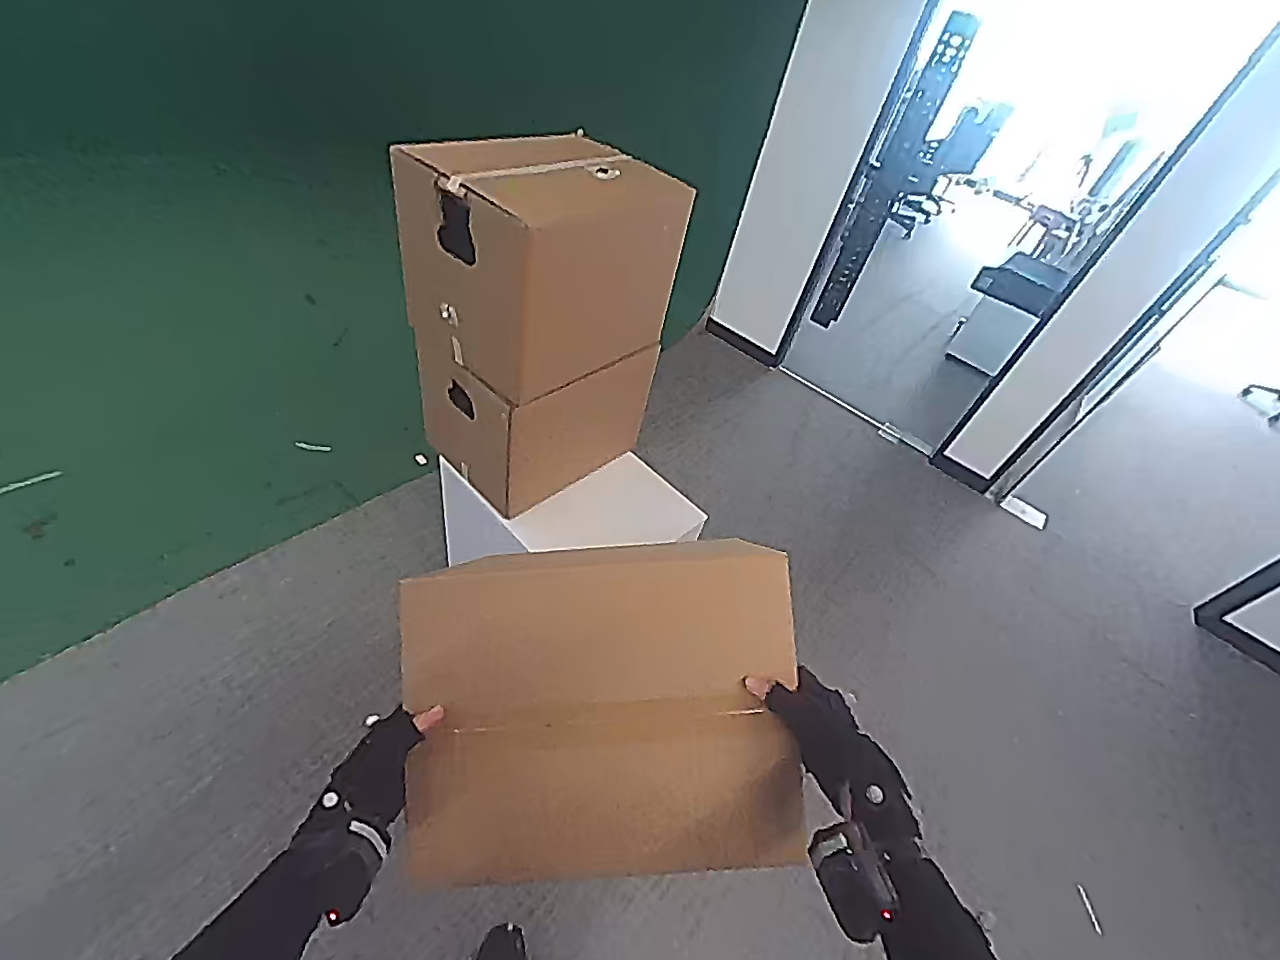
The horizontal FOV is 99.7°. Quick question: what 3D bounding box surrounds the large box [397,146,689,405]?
[{"bbox_3d":[-0.172,-0.397,1.006,0.320,0.320,0.408,36,46,20],"label":"large box"}]
